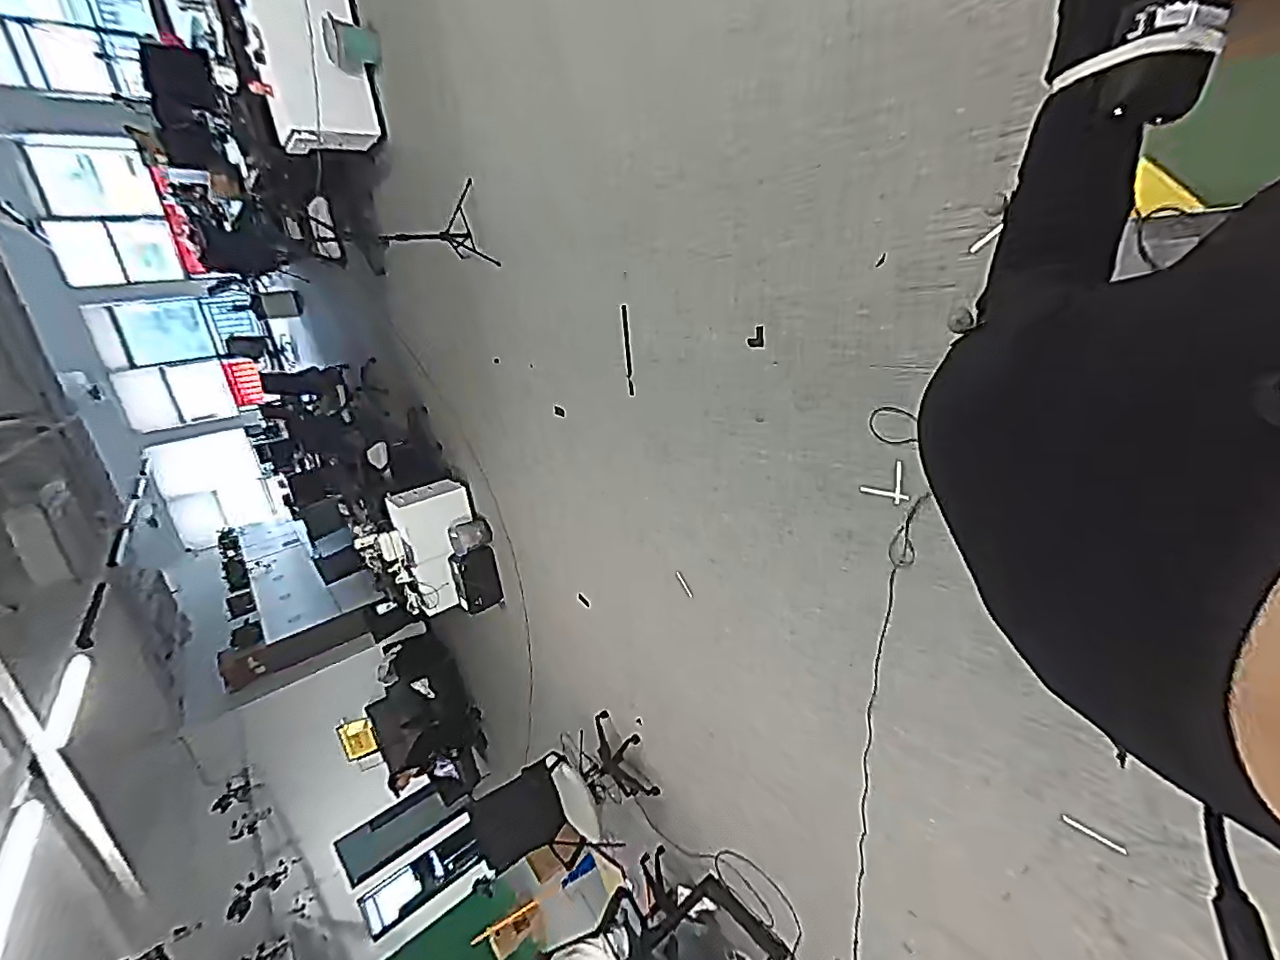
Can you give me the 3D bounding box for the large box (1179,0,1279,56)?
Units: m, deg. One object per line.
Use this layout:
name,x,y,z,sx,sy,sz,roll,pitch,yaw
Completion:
large box,0.582,-0.489,0.272,0.408,0.320,0.320,14,121,43
